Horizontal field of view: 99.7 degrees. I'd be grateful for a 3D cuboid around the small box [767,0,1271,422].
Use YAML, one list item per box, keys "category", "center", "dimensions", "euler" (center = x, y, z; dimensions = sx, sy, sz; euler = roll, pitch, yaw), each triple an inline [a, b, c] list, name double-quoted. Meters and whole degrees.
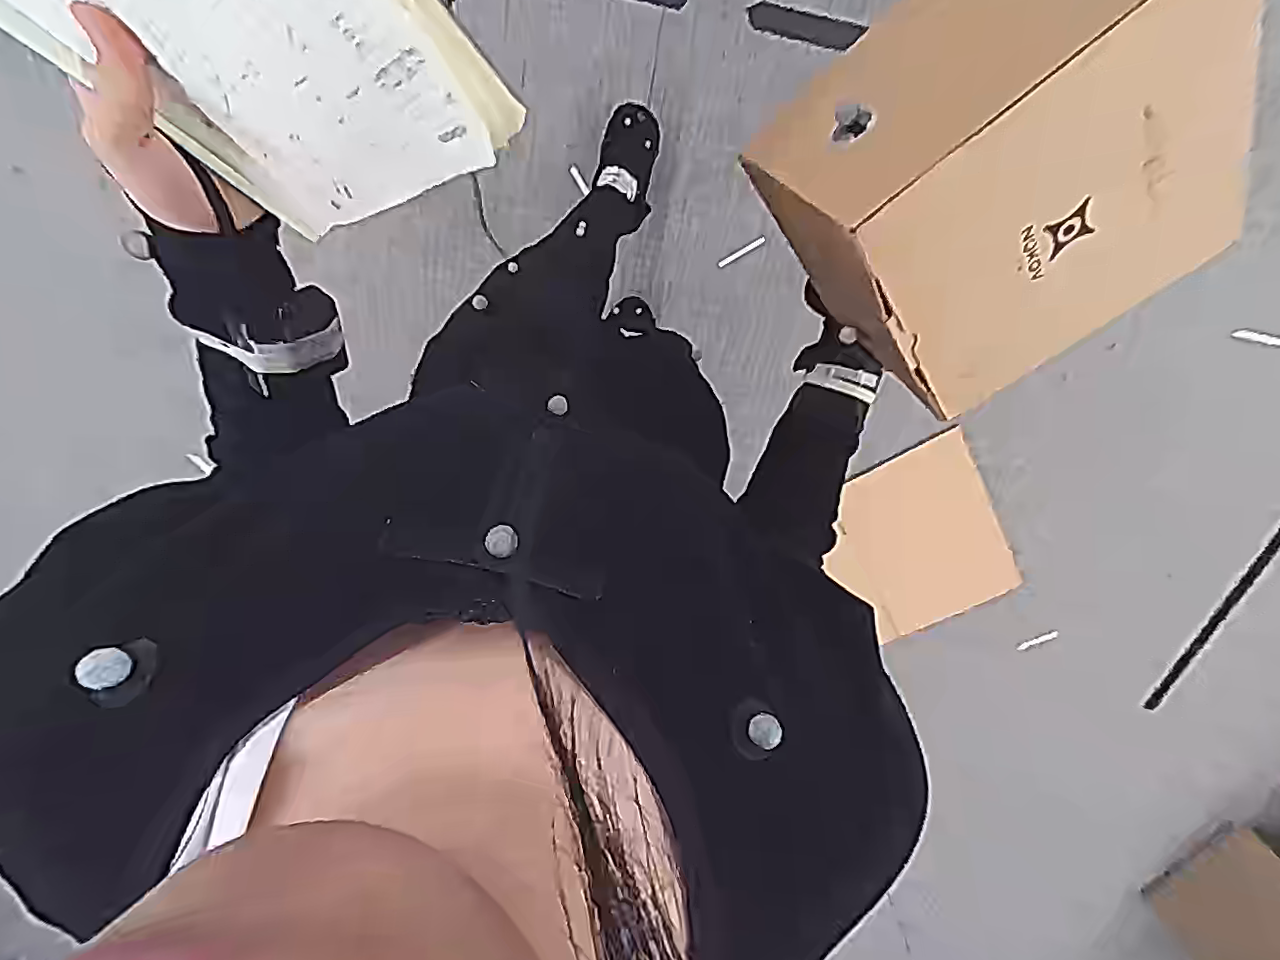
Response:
- category: "small box"
  center: [0.200, -0.177, 0.330]
  dimensions: [0.179, 0.176, 0.168]
  euler: [-37, 131, 18]
